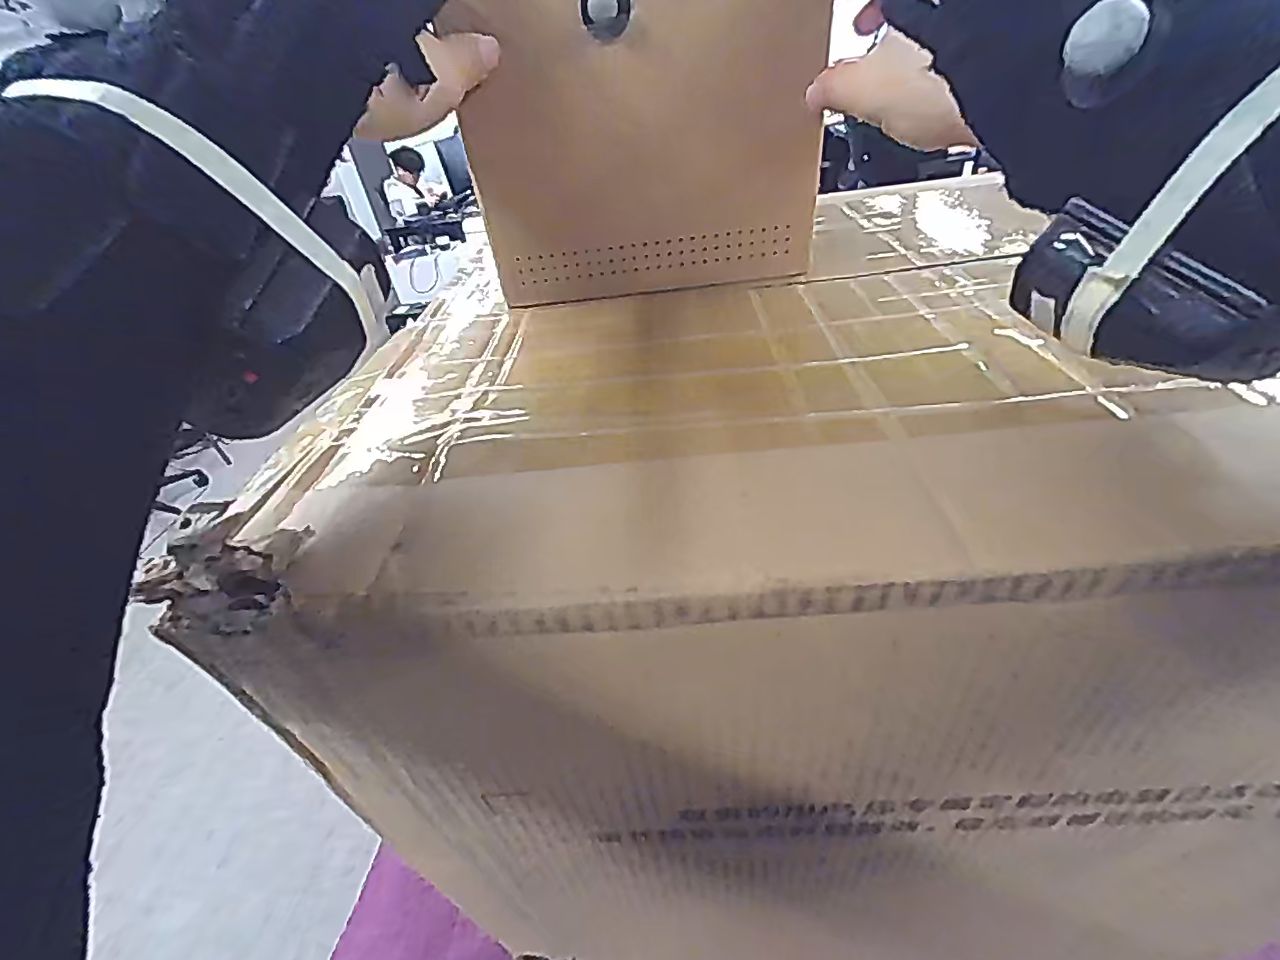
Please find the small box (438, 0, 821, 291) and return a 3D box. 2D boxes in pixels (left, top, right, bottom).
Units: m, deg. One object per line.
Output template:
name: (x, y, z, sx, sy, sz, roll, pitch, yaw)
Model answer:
small box: (-0.001, -0.221, 0.316, 0.179, 0.176, 0.168, -5, 38, 2)
